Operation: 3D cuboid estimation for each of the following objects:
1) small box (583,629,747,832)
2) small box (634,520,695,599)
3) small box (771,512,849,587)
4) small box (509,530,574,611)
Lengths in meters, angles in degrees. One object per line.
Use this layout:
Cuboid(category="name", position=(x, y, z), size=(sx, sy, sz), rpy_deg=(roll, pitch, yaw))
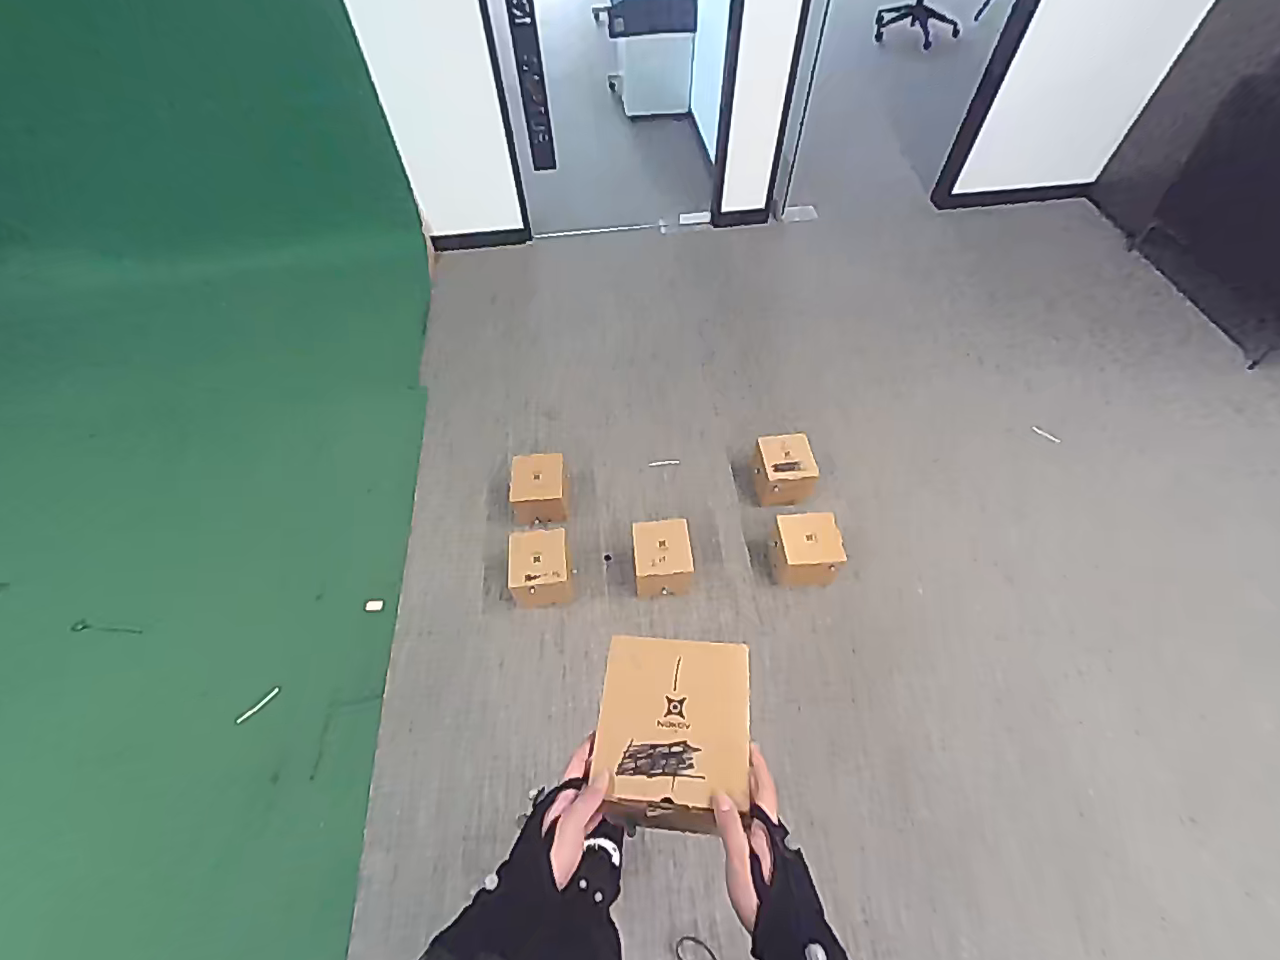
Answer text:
Cuboid(category="small box", position=(0.041, 0.298, 0.640), size=(0.168, 0.176, 0.179), rpy_deg=(2, 49, 9))
Cuboid(category="small box", position=(0.069, 0.240, 1.621), size=(0.168, 0.176, 0.179), rpy_deg=(-5, 56, -2))
Cuboid(category="small box", position=(0.502, 0.214, 1.632), size=(0.179, 0.176, 0.168), rpy_deg=(-4, 56, -2))
Cuboid(category="small box", position=(-0.288, 0.270, 1.608), size=(0.168, 0.176, 0.179), rpy_deg=(-6, 55, -2))
